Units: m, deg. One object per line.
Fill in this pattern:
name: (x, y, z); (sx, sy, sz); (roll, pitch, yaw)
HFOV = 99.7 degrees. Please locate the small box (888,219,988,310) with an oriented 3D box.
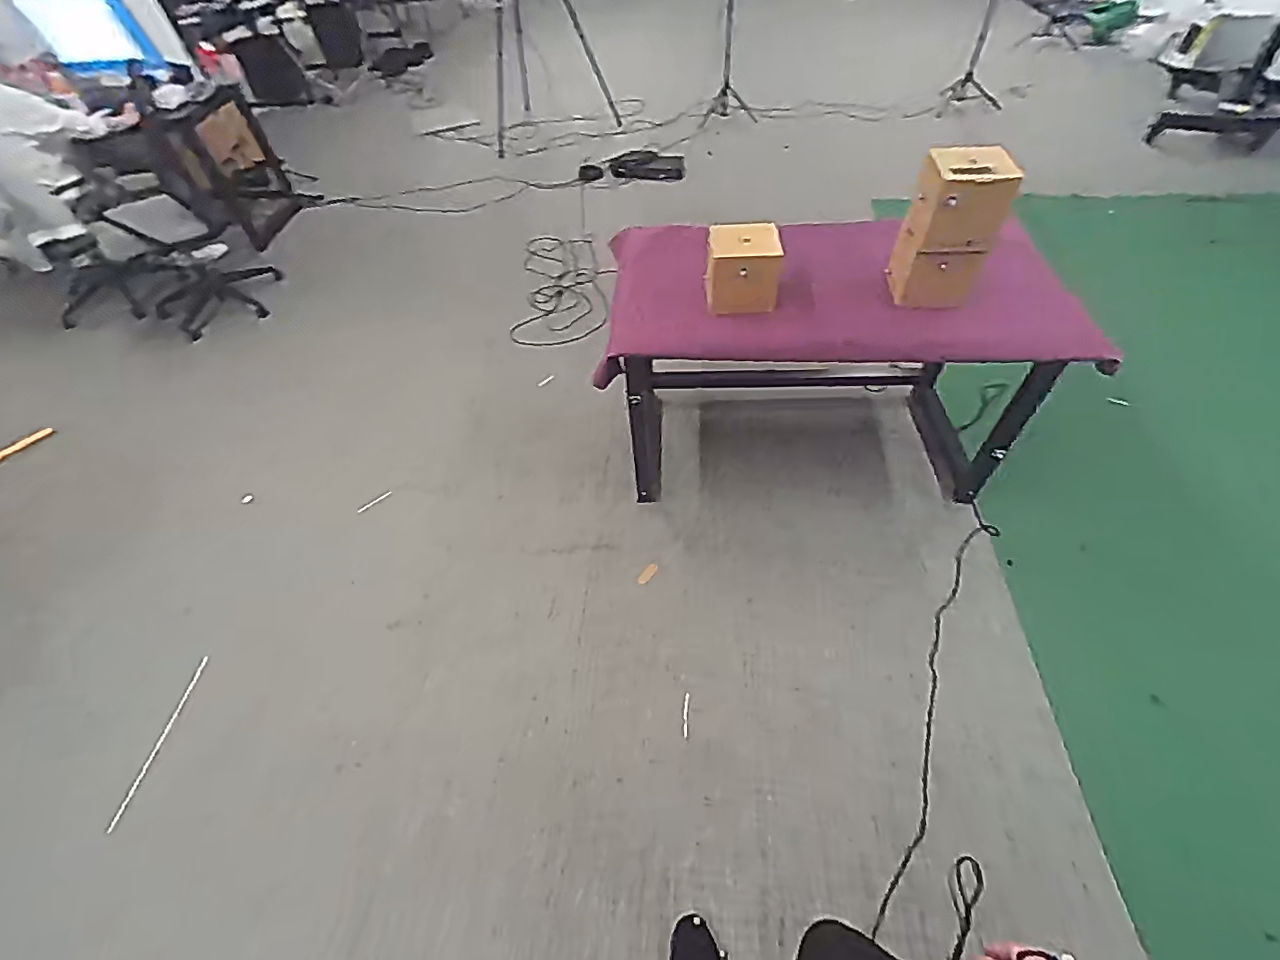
small box: (0.772, -0.566, 1.426); (0.179, 0.176, 0.168); (3, 52, 6)

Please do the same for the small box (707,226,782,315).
small box: (0.275, -0.564, 1.465); (0.179, 0.176, 0.168); (-1, 52, 4)
